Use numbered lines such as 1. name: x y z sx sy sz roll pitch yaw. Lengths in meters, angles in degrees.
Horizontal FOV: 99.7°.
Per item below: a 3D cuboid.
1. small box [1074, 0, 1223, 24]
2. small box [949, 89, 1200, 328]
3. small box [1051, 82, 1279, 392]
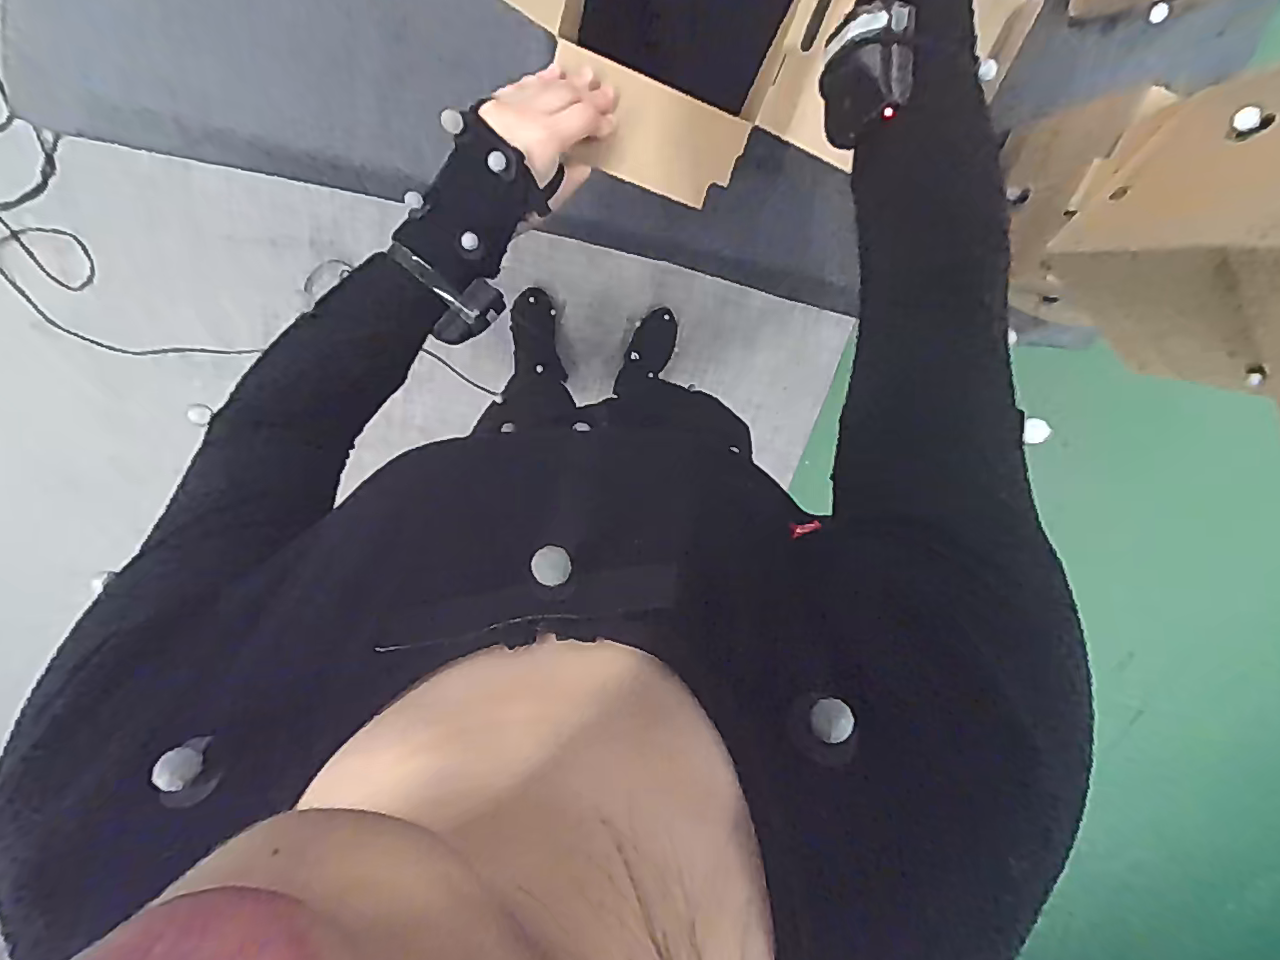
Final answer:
1. small box: 0.514 -0.525 0.451 0.168 0.176 0.179 -7 117 2
2. small box: 0.474 -0.262 0.568 0.179 0.176 0.168 17 110 -10
3. small box: 0.484 -0.184 0.423 0.179 0.176 0.168 37 105 -18
